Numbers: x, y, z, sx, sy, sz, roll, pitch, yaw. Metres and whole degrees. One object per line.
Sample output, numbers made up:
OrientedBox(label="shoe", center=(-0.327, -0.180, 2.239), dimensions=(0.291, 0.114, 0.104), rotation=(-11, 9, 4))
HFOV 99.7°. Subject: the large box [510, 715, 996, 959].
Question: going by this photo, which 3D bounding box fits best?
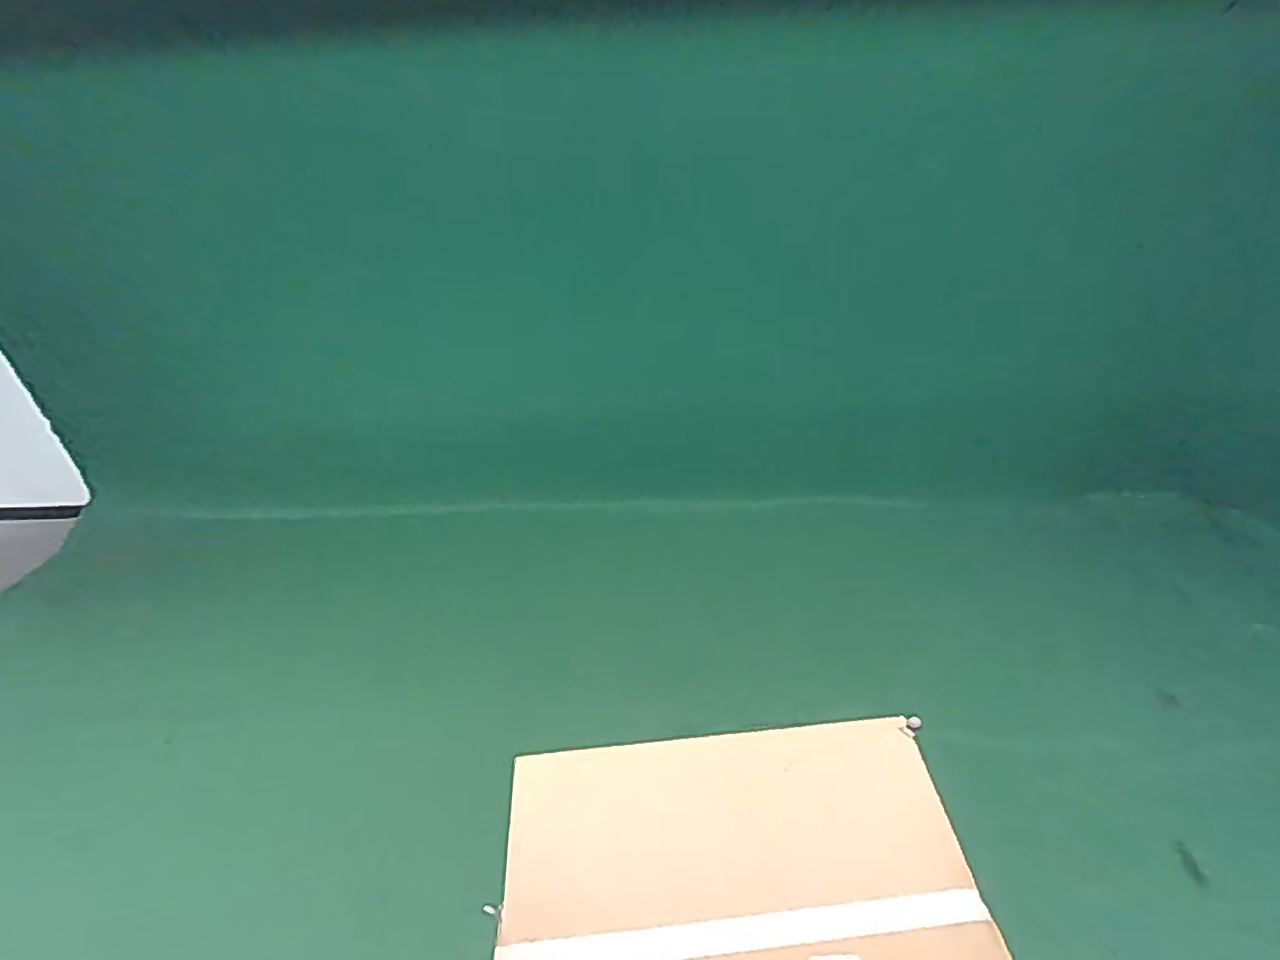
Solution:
OrientedBox(label="large box", center=(0.091, 0.481, 0.563), dimensions=(0.408, 0.320, 0.320), rotation=(-5, 46, -2))
